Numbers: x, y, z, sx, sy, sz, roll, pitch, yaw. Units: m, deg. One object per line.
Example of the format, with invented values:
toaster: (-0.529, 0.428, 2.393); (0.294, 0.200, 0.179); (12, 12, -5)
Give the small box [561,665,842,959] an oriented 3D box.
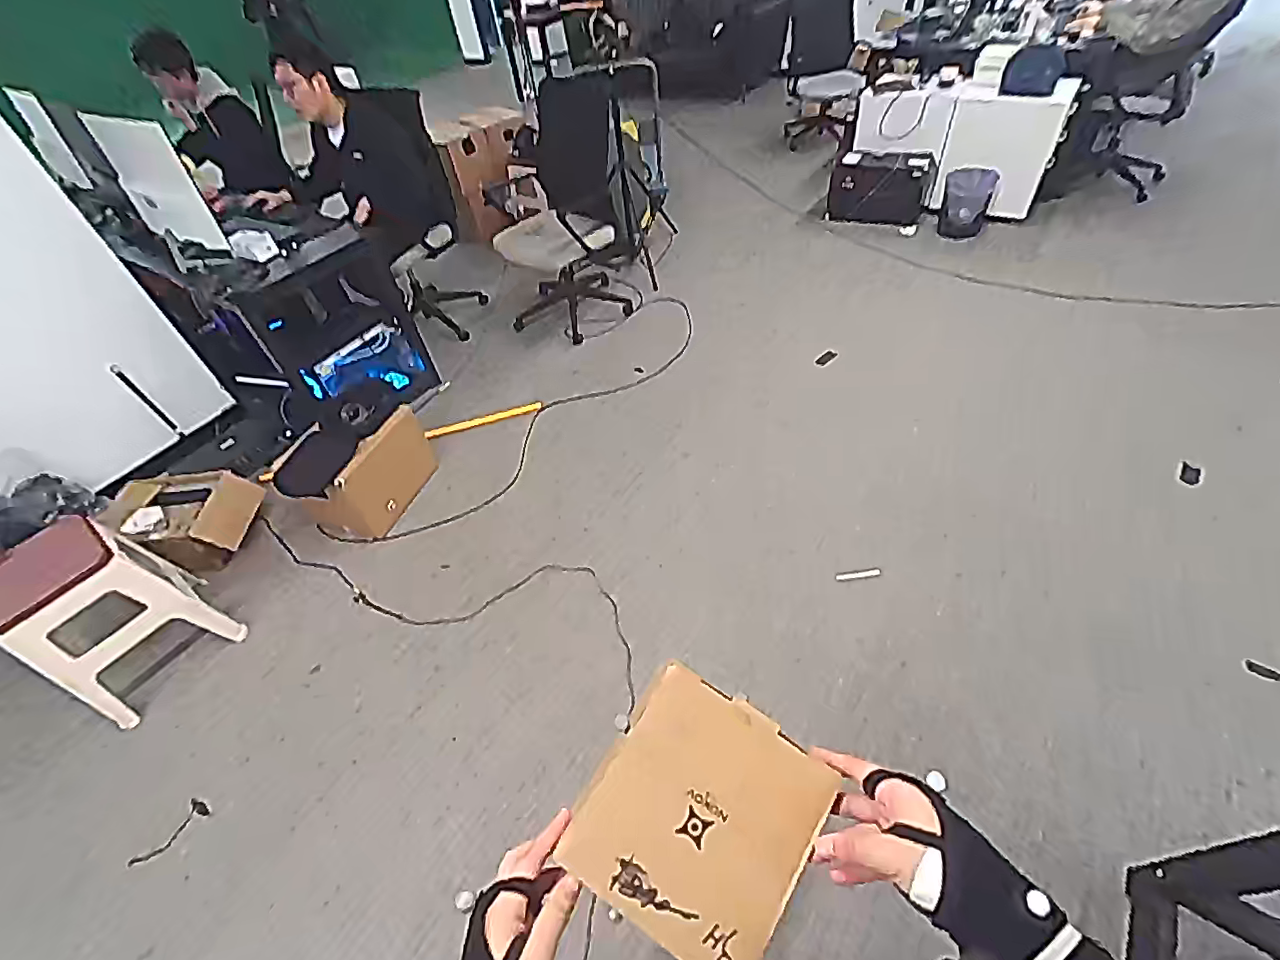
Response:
small box: (0.049, 0.292, 0.499); (0.168, 0.176, 0.179); (32, 73, 10)
